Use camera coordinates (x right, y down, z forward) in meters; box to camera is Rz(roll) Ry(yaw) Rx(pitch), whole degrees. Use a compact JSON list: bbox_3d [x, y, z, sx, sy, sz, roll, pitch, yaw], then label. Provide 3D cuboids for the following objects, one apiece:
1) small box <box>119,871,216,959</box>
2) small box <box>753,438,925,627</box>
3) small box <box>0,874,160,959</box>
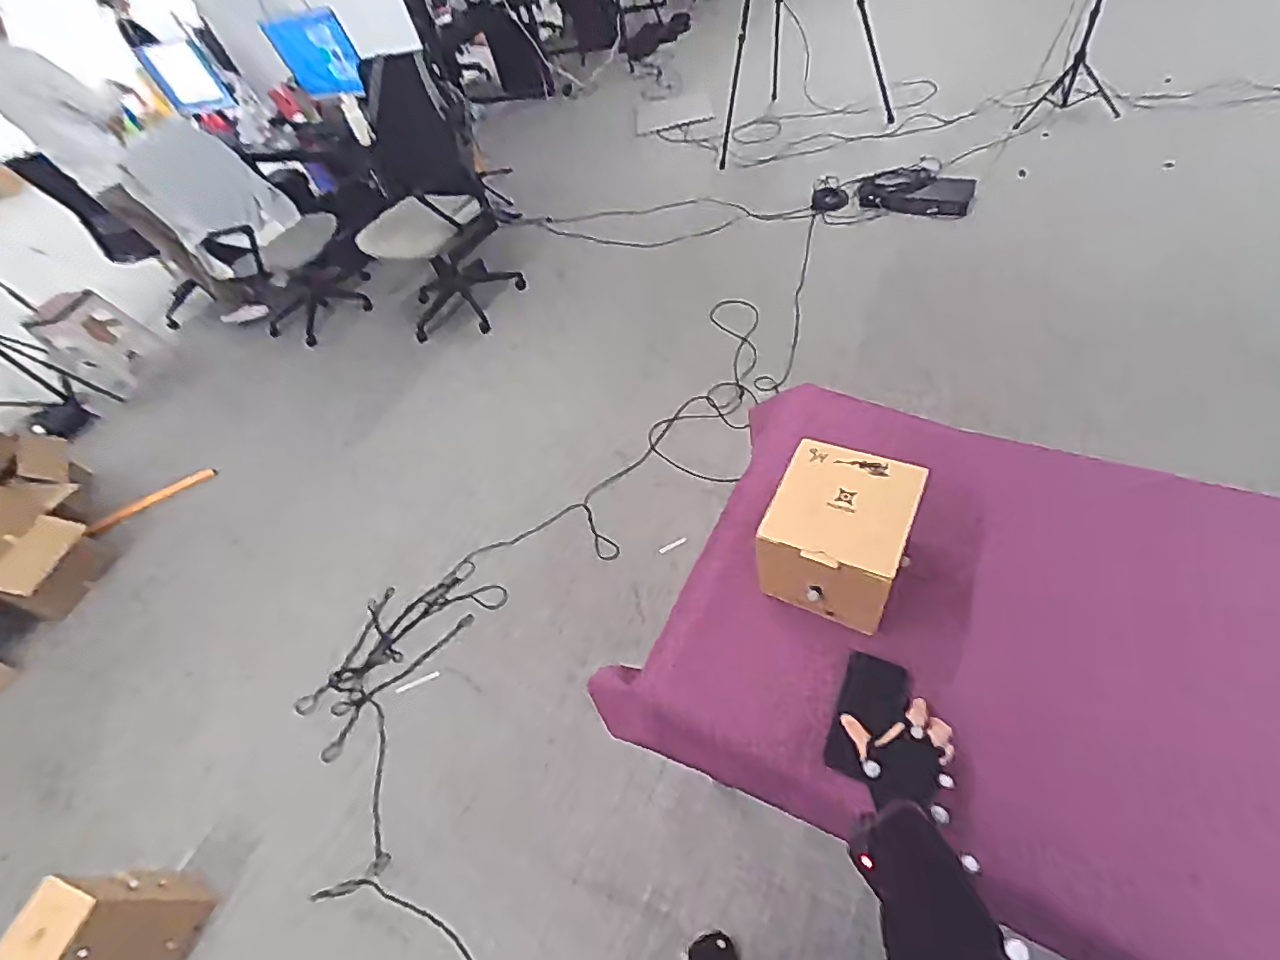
[{"bbox_3d":[-1.197,1.081,1.314,0.179,0.176,0.168,9,56,22],"label":"small box"},{"bbox_3d":[0.272,0.075,0.747,0.168,0.176,0.179,18,60,27],"label":"small box"},{"bbox_3d":[-1.224,0.991,1.180,0.168,0.176,0.179,6,55,19],"label":"small box"}]
